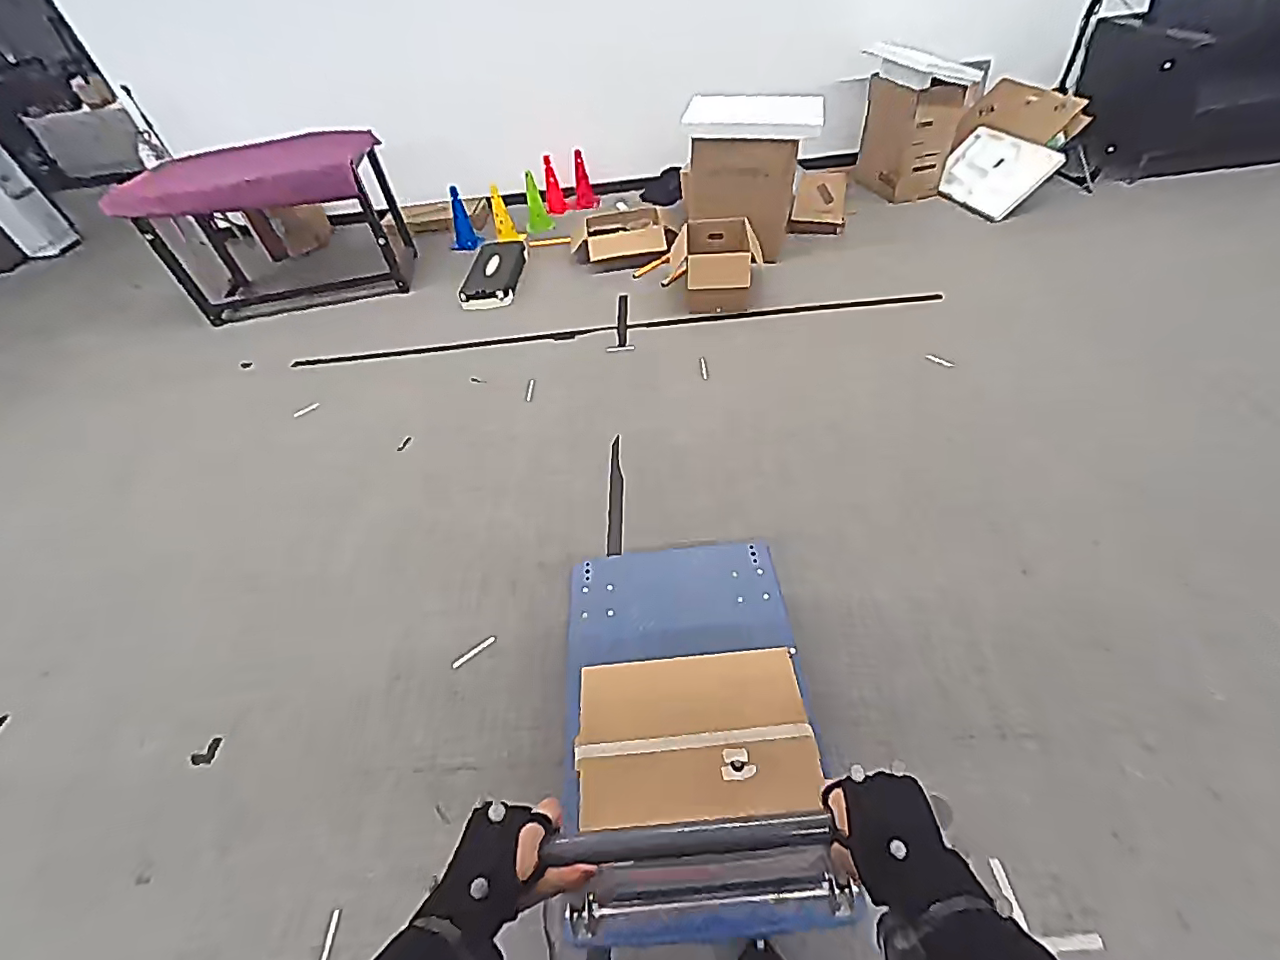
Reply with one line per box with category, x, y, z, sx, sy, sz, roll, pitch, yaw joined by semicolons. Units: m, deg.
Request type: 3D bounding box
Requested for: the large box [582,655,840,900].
large box;0.109;0.566;1.027;0.408;0.320;0.320;-6;46;1
